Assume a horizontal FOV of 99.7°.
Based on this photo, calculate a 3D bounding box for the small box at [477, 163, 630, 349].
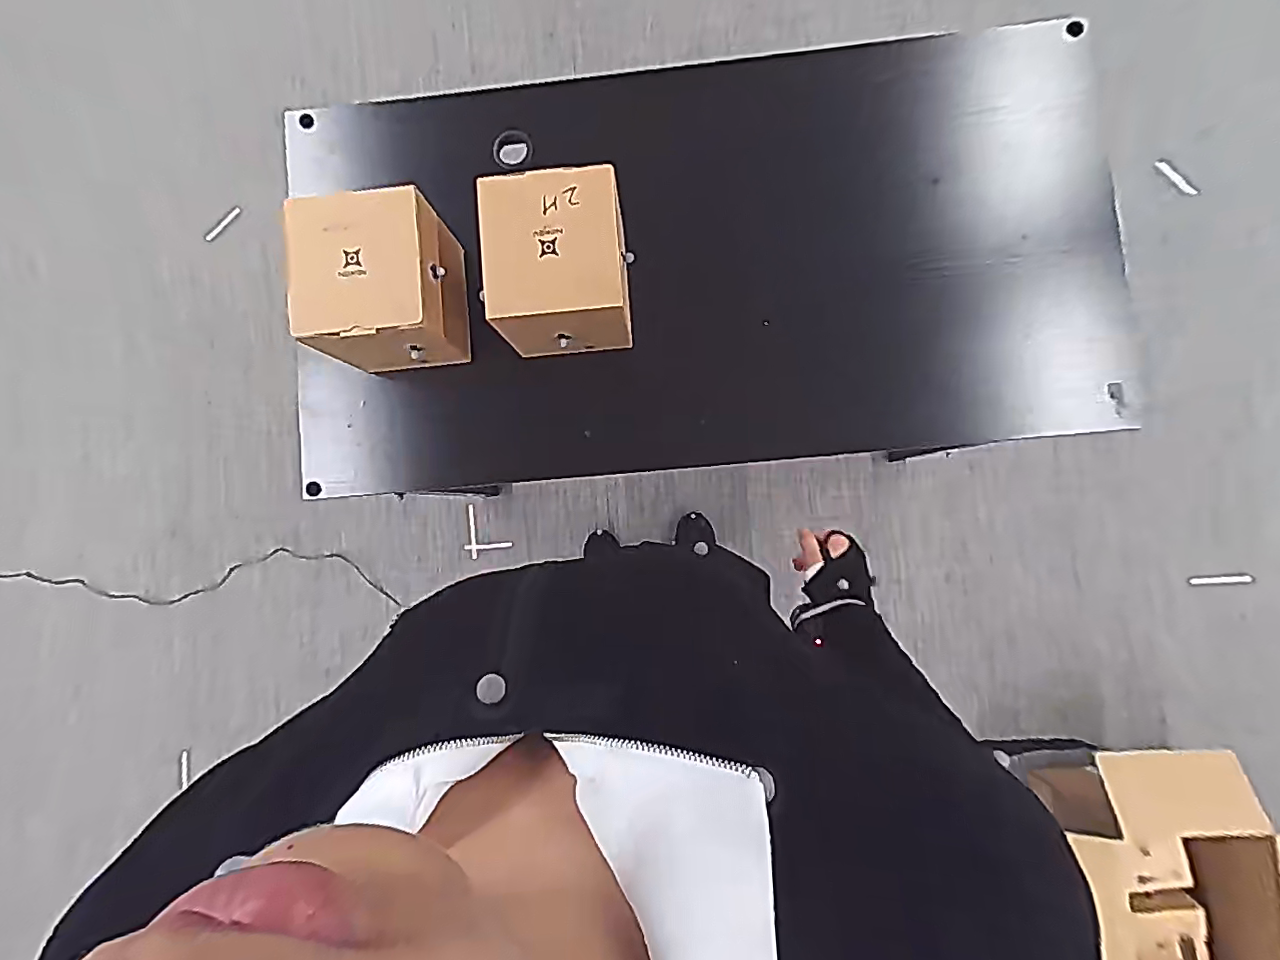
[{"bbox_3d":[-0.104,-0.280,0.717,0.168,0.176,0.179,-4,87,2],"label":"small box"}]

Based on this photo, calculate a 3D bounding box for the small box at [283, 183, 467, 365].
[{"bbox_3d":[-0.343,-0.262,0.731,0.168,0.176,0.179,-6,86,1],"label":"small box"}]
